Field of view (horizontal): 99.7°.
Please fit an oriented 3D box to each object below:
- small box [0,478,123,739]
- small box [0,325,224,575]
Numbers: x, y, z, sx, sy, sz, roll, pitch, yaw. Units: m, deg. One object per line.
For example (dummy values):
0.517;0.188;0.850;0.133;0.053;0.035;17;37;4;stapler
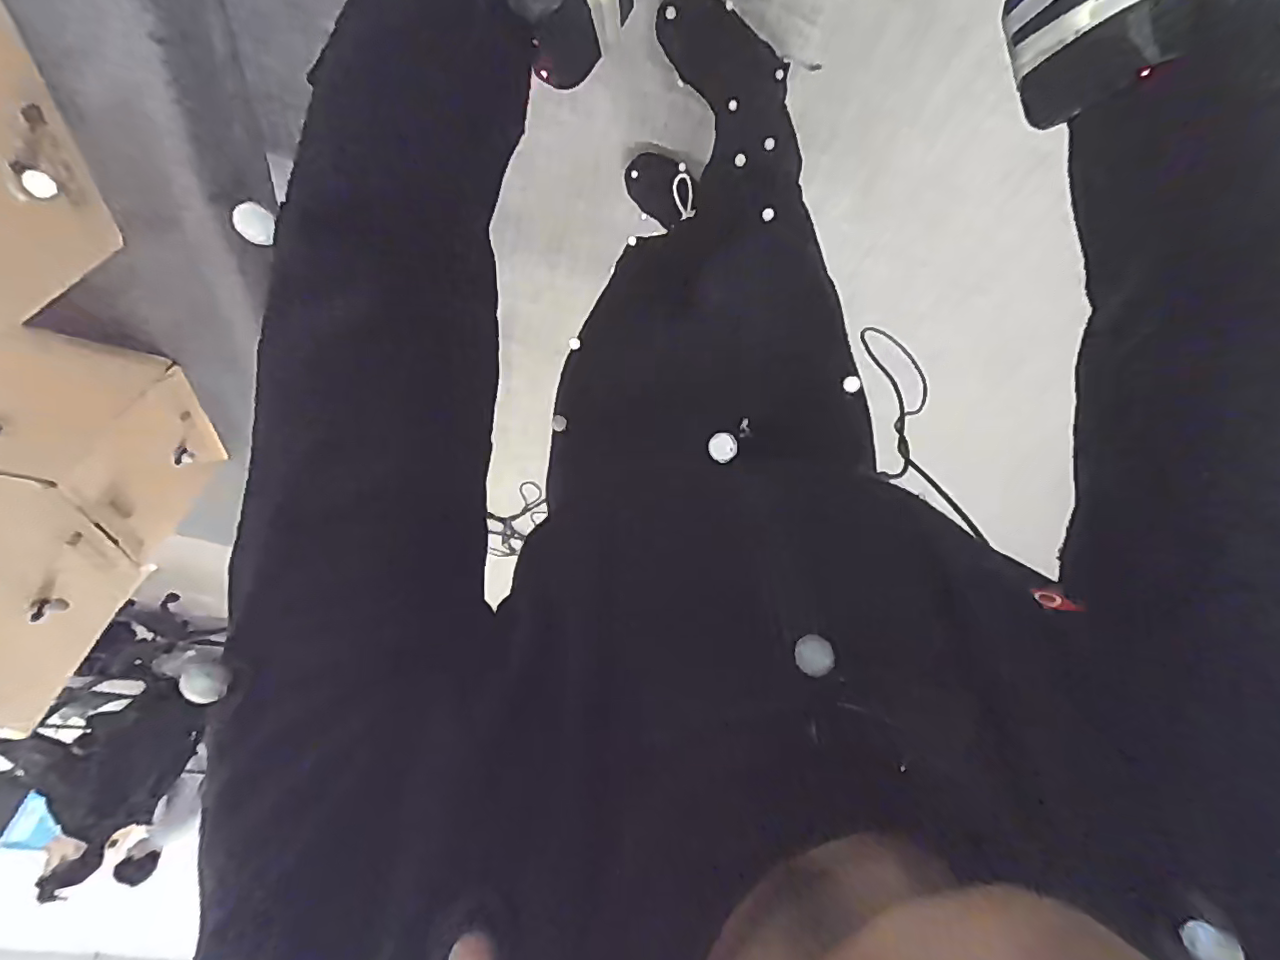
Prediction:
-0.585;0.096;0.438;0.179;0.176;0.168;11;141;-8;small box
-0.577;-0.030;0.543;0.179;0.176;0.168;12;141;-9;small box
